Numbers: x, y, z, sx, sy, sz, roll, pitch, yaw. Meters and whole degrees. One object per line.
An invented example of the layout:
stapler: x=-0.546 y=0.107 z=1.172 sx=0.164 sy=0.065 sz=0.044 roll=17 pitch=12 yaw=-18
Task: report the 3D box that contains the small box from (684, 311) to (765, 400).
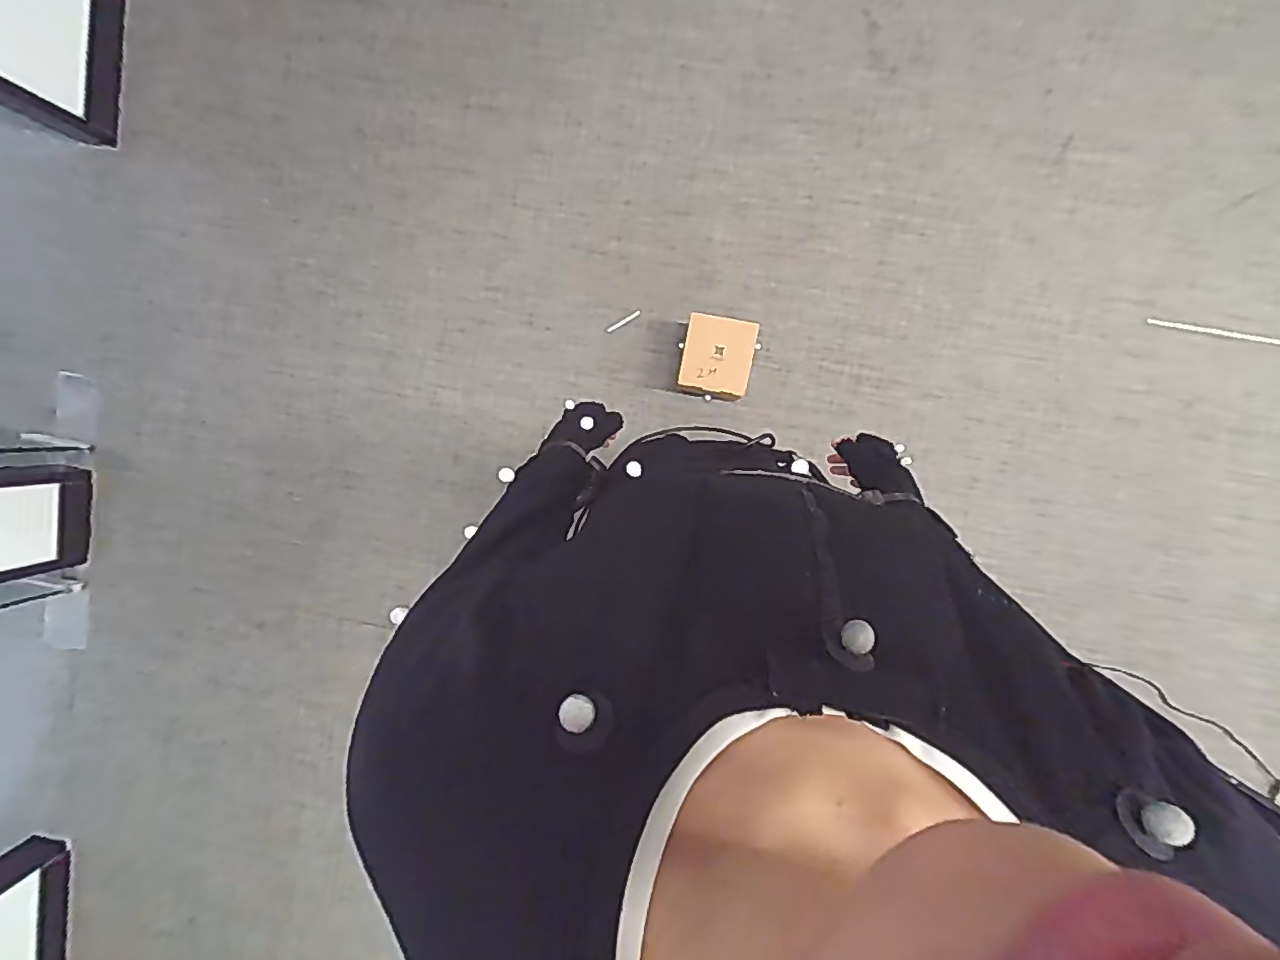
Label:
small box: x=0.203 y=-0.305 z=1.353 sx=0.168 sy=0.176 sz=0.179 roll=11 pitch=96 yaw=4
